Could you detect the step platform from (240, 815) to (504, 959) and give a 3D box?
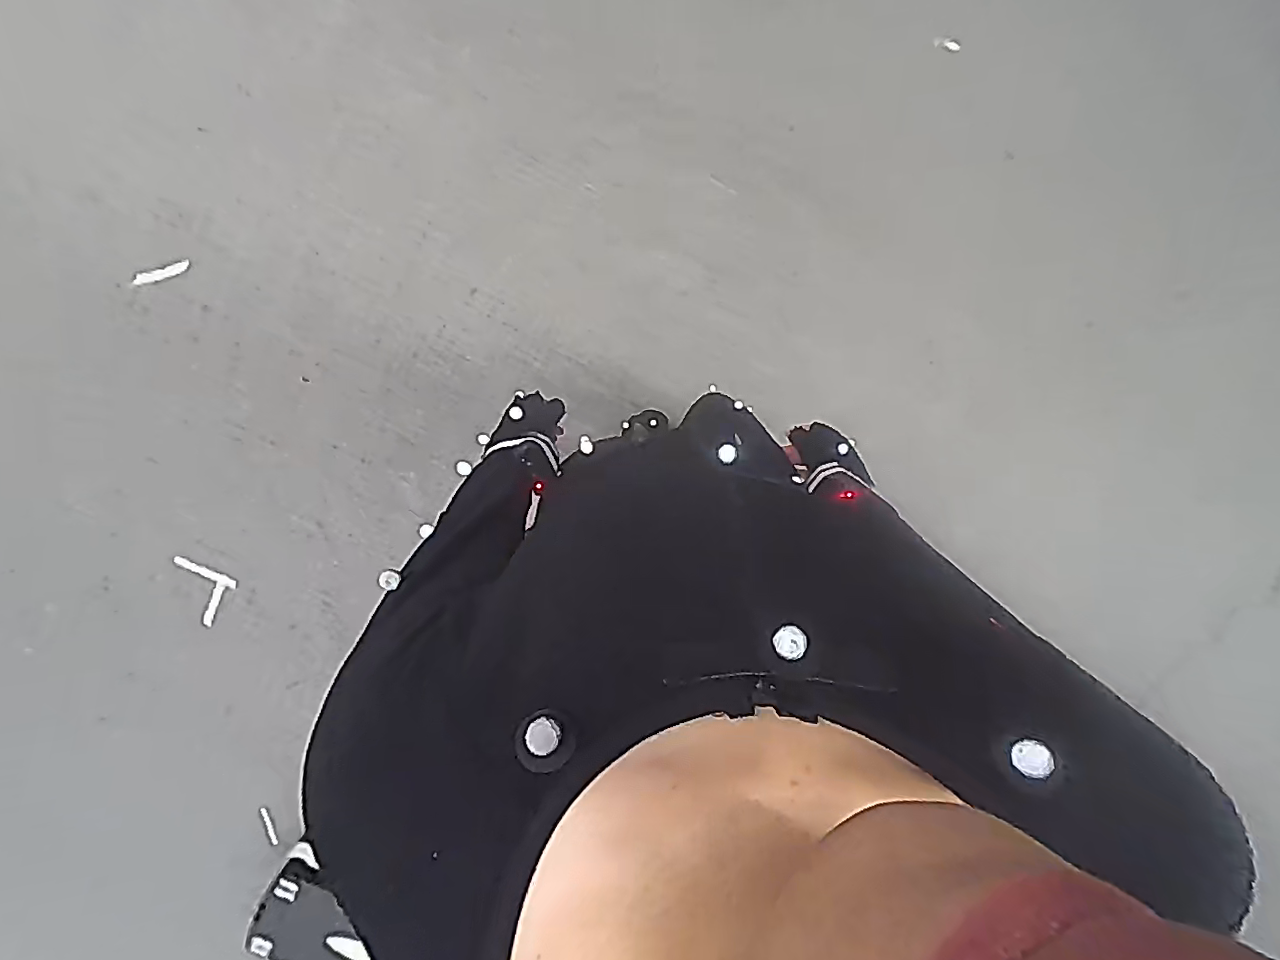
[{"bbox_3d":[-0.760,1.271,1.569,0.684,0.204,0.286,26,97,-4],"label":"step platform"}]
